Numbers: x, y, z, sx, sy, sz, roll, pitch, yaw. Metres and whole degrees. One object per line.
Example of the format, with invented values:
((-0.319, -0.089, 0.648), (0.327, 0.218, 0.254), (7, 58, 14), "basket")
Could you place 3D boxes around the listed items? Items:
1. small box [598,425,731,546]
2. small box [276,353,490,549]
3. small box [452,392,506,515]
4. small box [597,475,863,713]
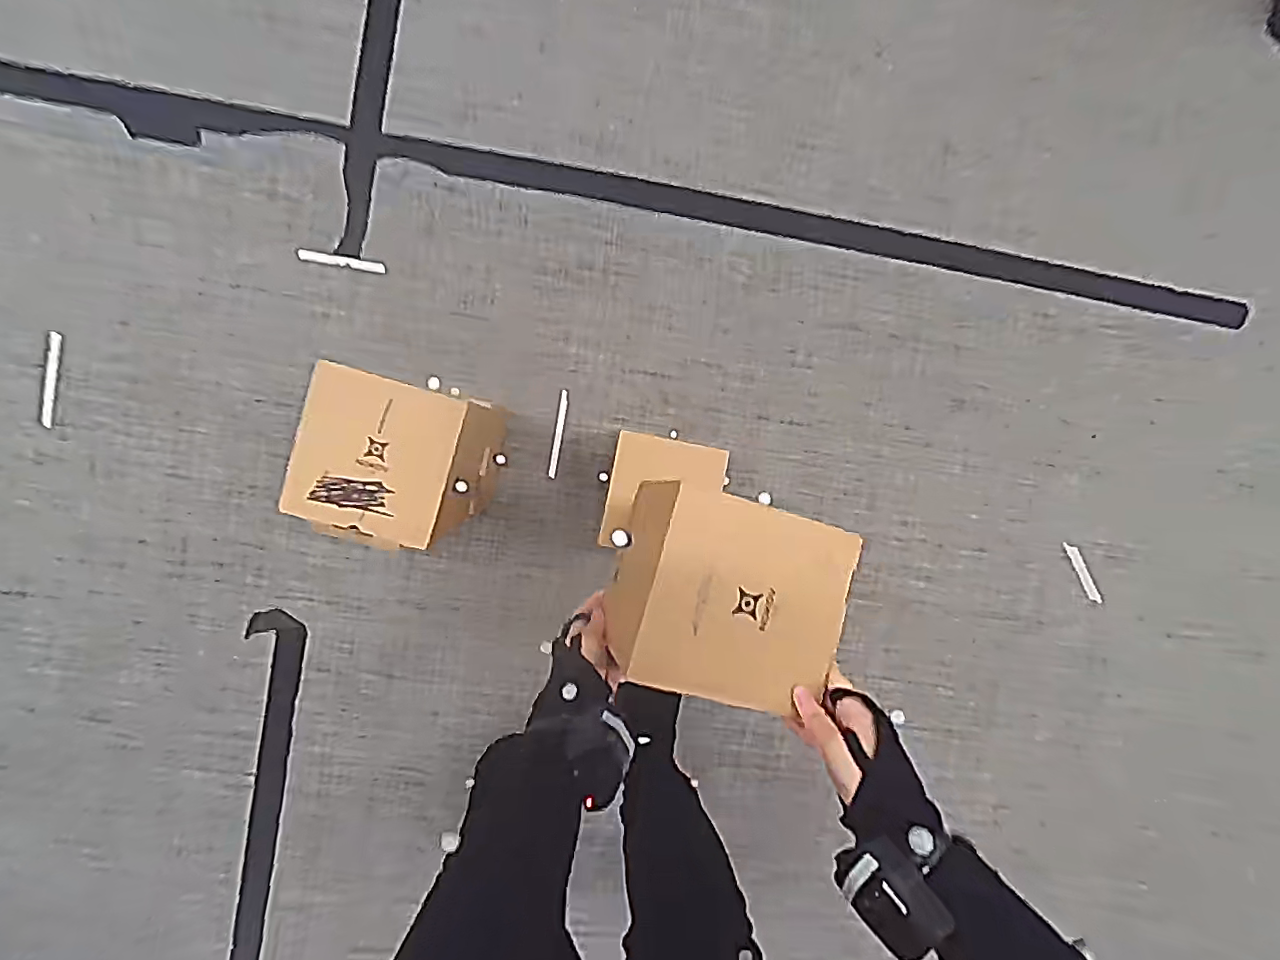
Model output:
((0.028, 0.017, 0.855), (0.168, 0.176, 0.179), (12, 94, -5), "small box")
((-0.295, -0.035, 0.660), (0.168, 0.176, 0.179), (16, 92, -6), "small box")
((-0.311, -0.054, 0.823), (0.179, 0.176, 0.168), (12, 93, -6), "small box")
((0.072, 0.096, 0.522), (0.179, 0.176, 0.168), (18, 86, -12), "small box")
